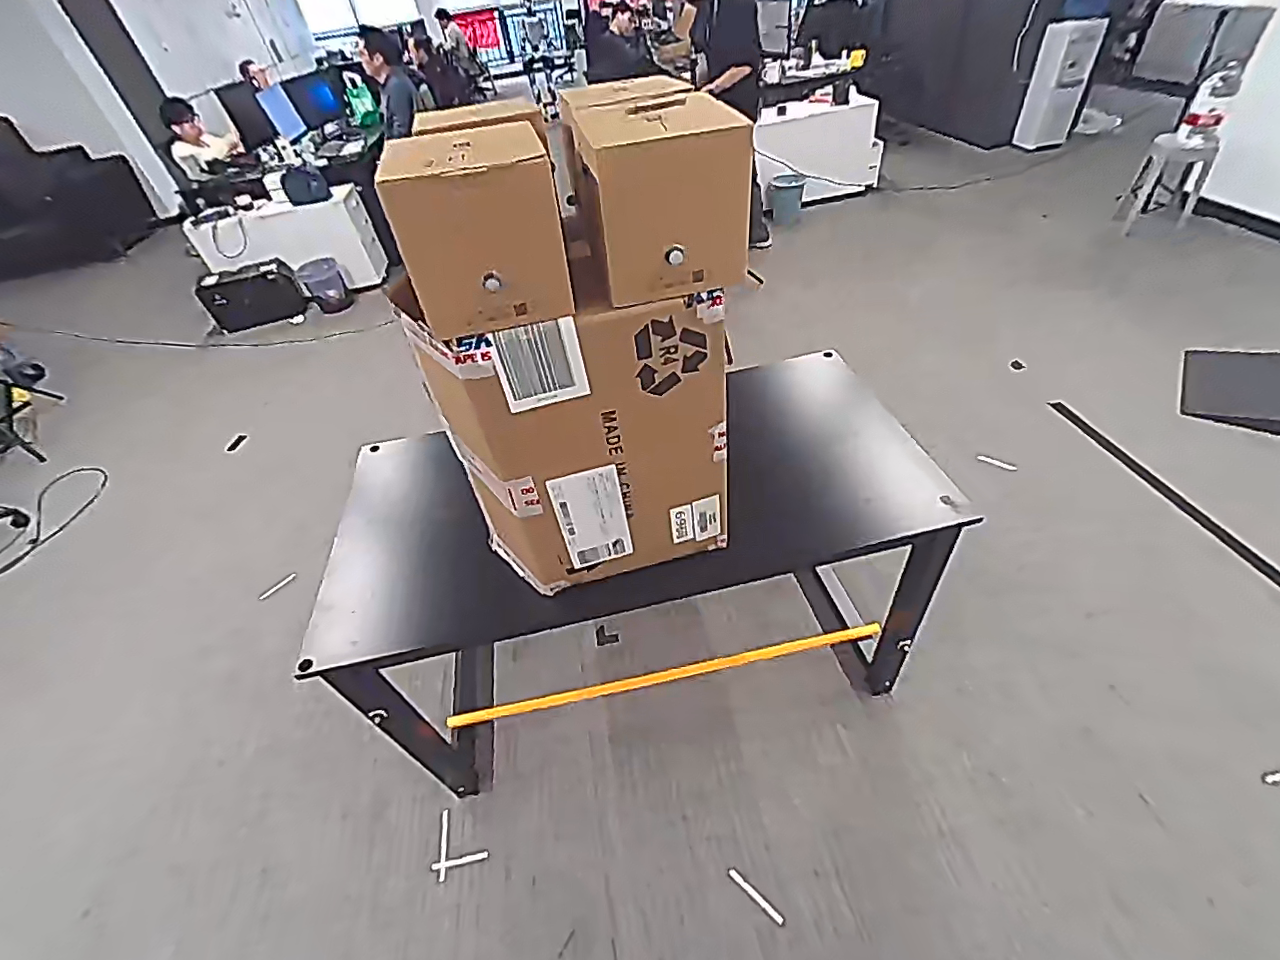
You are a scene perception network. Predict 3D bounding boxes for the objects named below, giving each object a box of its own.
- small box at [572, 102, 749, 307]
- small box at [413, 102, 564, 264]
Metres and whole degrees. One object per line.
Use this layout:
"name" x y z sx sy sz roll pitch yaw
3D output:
"small box" 0.020 -0.331 0.649 0.168 0.176 0.179 -13 45 -5
"small box" -0.218 -0.438 0.797 0.168 0.176 0.179 -16 42 -8
